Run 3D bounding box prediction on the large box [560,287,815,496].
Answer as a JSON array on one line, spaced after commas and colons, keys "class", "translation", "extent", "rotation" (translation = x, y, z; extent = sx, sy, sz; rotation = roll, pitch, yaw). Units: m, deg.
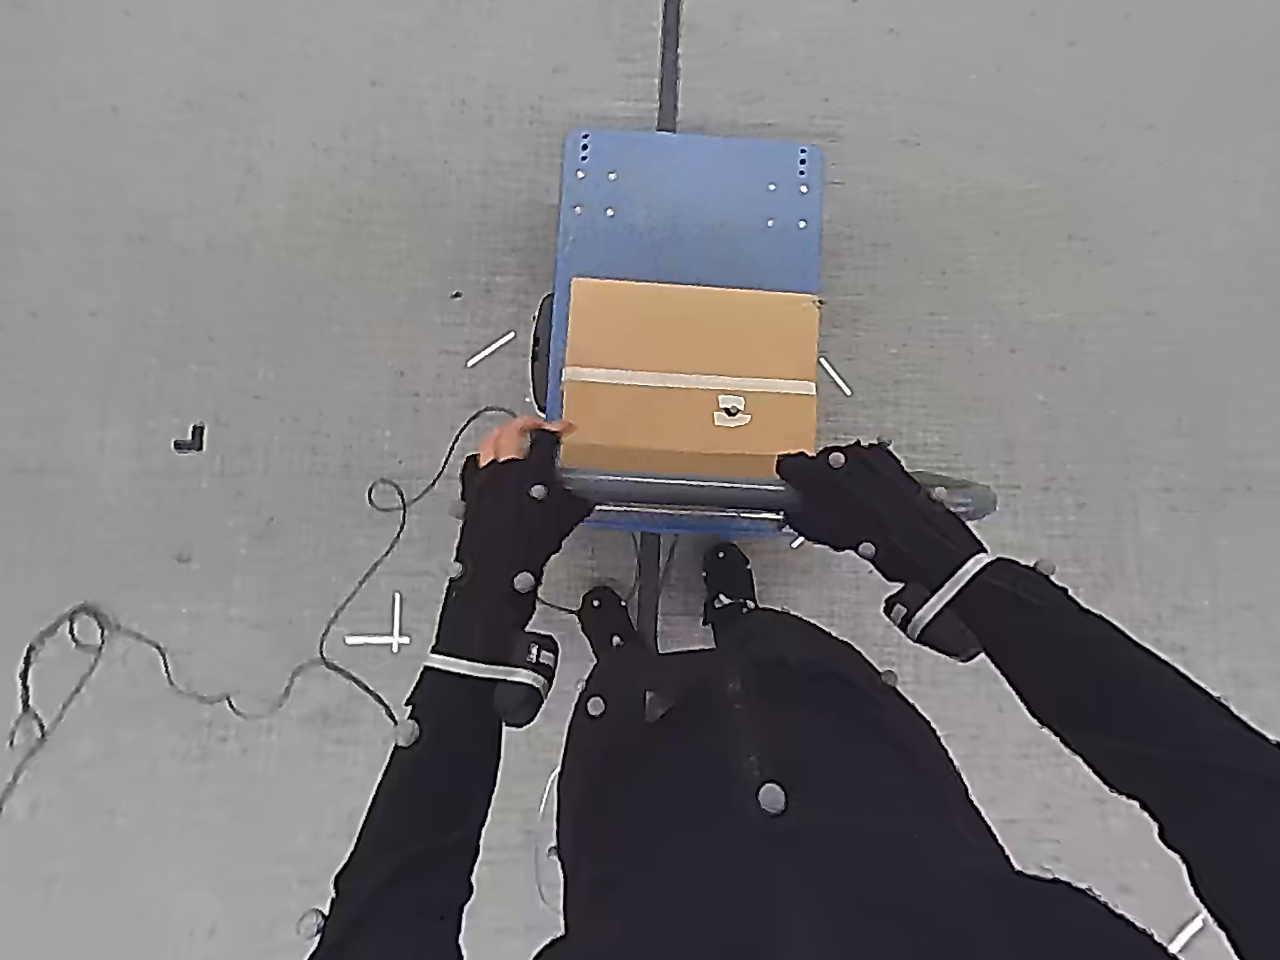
[{"class": "large box", "translation": [0.071, -0.136, 1.005], "extent": [0.408, 0.320, 0.320], "rotation": [3, 87, -2]}]
